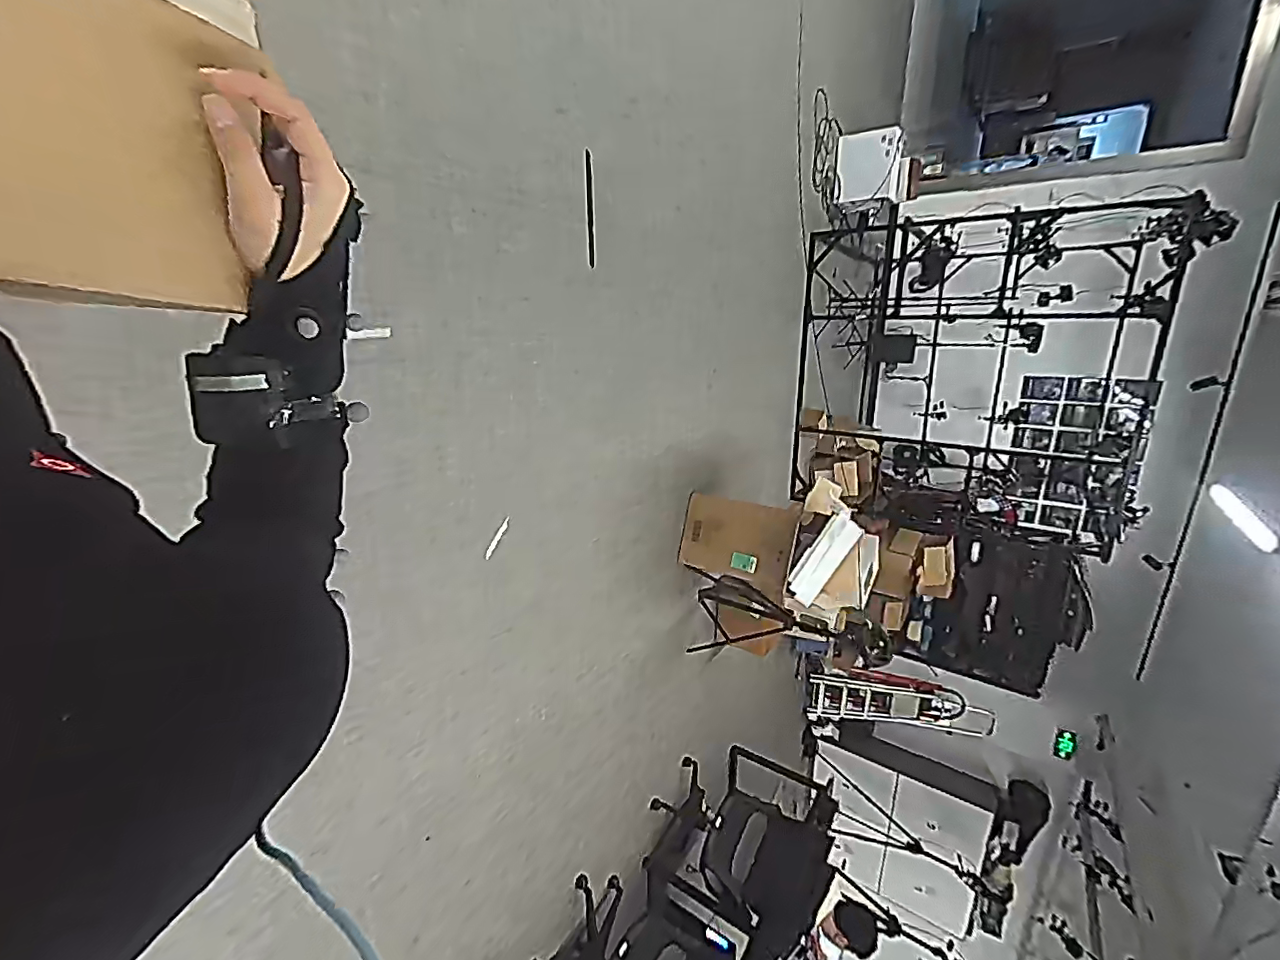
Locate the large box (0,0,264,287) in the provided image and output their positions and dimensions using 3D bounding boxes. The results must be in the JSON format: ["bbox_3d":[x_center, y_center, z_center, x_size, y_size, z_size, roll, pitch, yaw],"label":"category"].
[{"bbox_3d":[-0.454,-0.272,0.218,0.408,0.320,0.320,-13,113,-59],"label":"large box"}]
